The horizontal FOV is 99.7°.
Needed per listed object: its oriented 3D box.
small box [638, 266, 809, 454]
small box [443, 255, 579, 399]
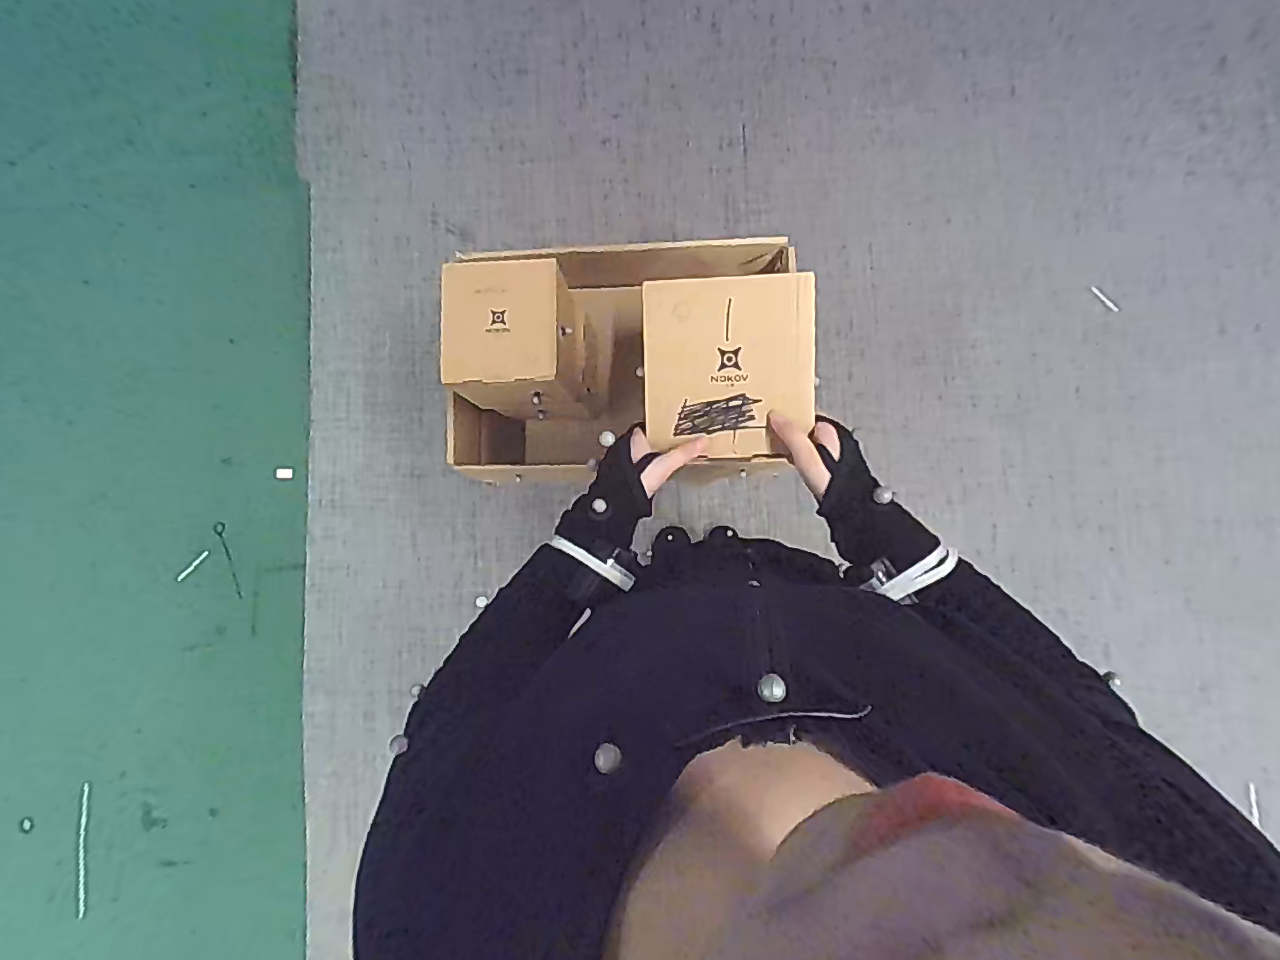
[{"bbox_3d":[0.089,-0.122,0.603,0.168,0.176,0.179,-1,95,7],"label":"small box"},{"bbox_3d":[-0.190,-0.224,0.837,0.168,0.176,0.179,-1,85,4],"label":"small box"}]
